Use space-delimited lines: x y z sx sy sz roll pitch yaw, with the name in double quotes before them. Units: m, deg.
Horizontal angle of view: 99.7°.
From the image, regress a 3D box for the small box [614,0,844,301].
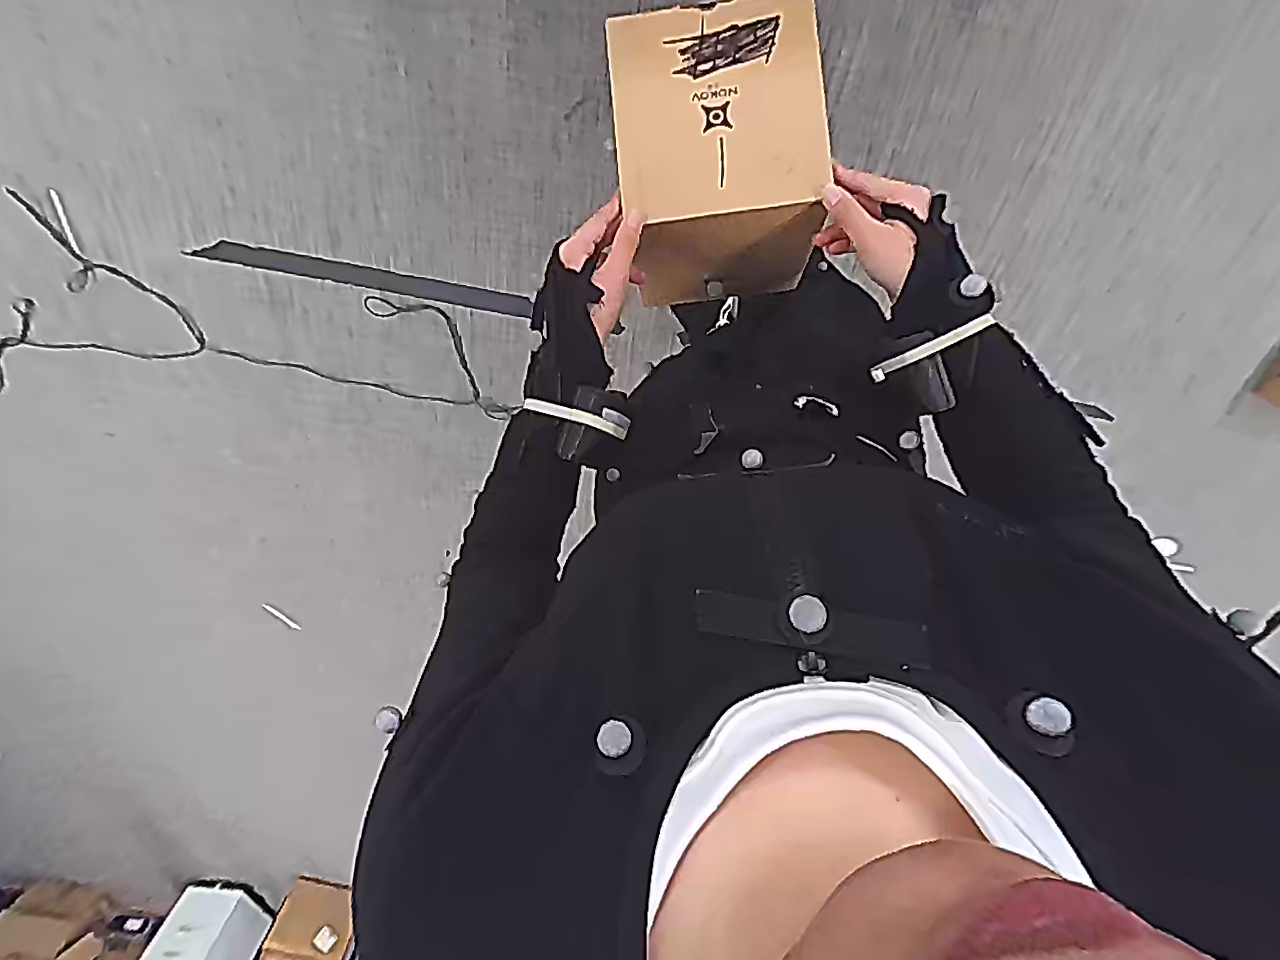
"small box" 0.072 -0.288 0.494 0.168 0.176 0.179 -6 86 5
